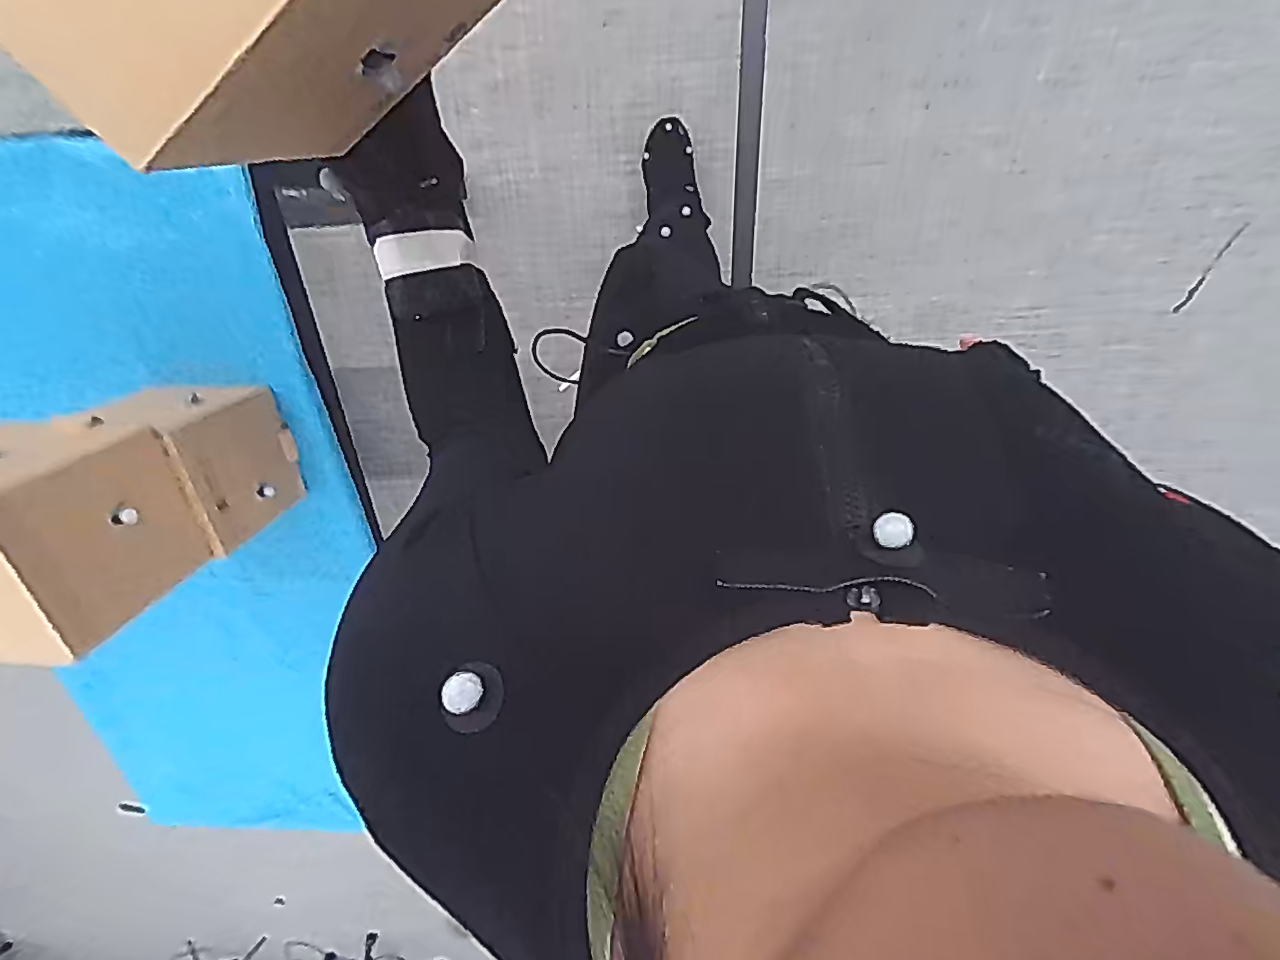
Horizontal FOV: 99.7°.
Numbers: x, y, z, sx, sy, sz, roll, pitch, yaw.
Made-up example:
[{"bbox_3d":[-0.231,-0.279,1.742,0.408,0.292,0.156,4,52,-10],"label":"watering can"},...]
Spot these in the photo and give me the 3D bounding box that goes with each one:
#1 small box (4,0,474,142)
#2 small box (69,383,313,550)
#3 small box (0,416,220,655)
[{"bbox_3d":[-0.160,-0.264,0.202,0.168,0.176,0.179,-30,119,16],"label":"small box"},{"bbox_3d":[-0.571,-0.019,0.687,0.179,0.176,0.168,0,117,5],"label":"small box"},{"bbox_3d":[-0.589,0.049,0.540,0.168,0.176,0.179,2,120,5],"label":"small box"}]
